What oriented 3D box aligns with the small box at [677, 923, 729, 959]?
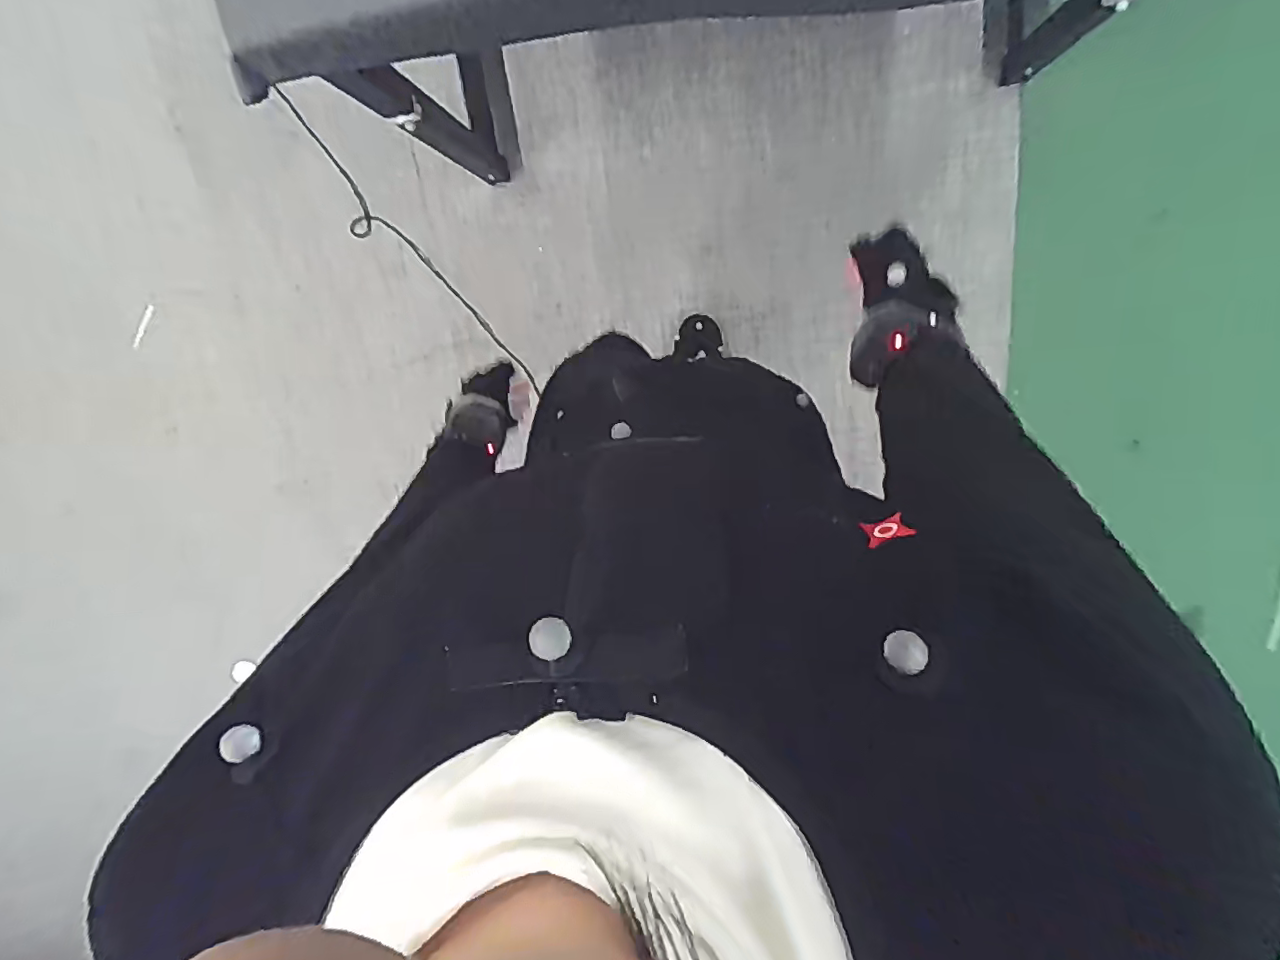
[{"bbox_3d":[0.216,1.666,1.857,0.179,0.176,0.168,-3,107,6],"label":"small box"}]
